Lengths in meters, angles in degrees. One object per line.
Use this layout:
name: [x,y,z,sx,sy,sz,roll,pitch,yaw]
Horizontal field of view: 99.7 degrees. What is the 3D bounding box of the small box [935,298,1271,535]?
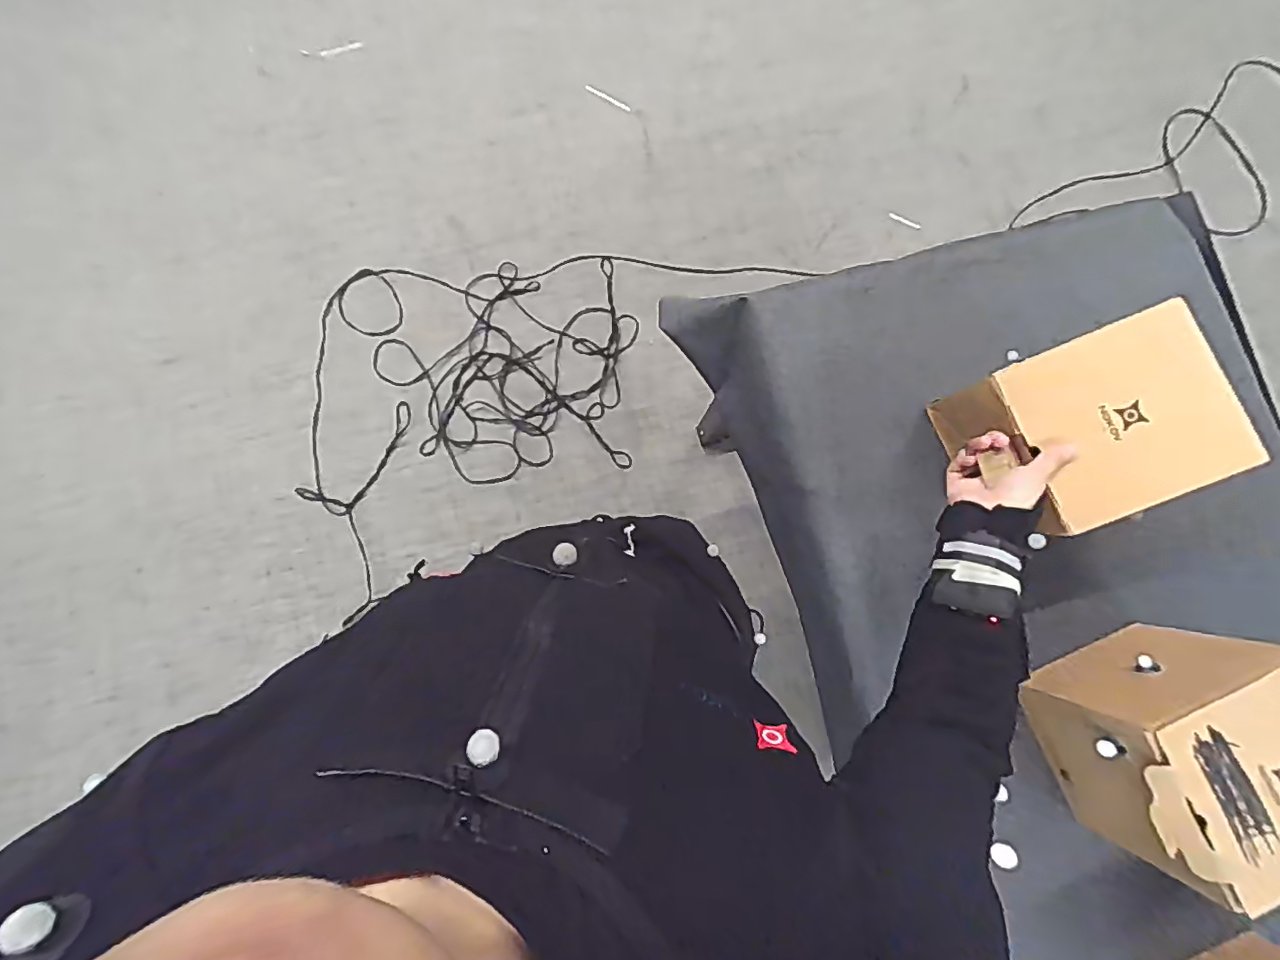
small box: [0.451,-0.056,0.563,0.179,0.176,0.168,-24,85,8]
